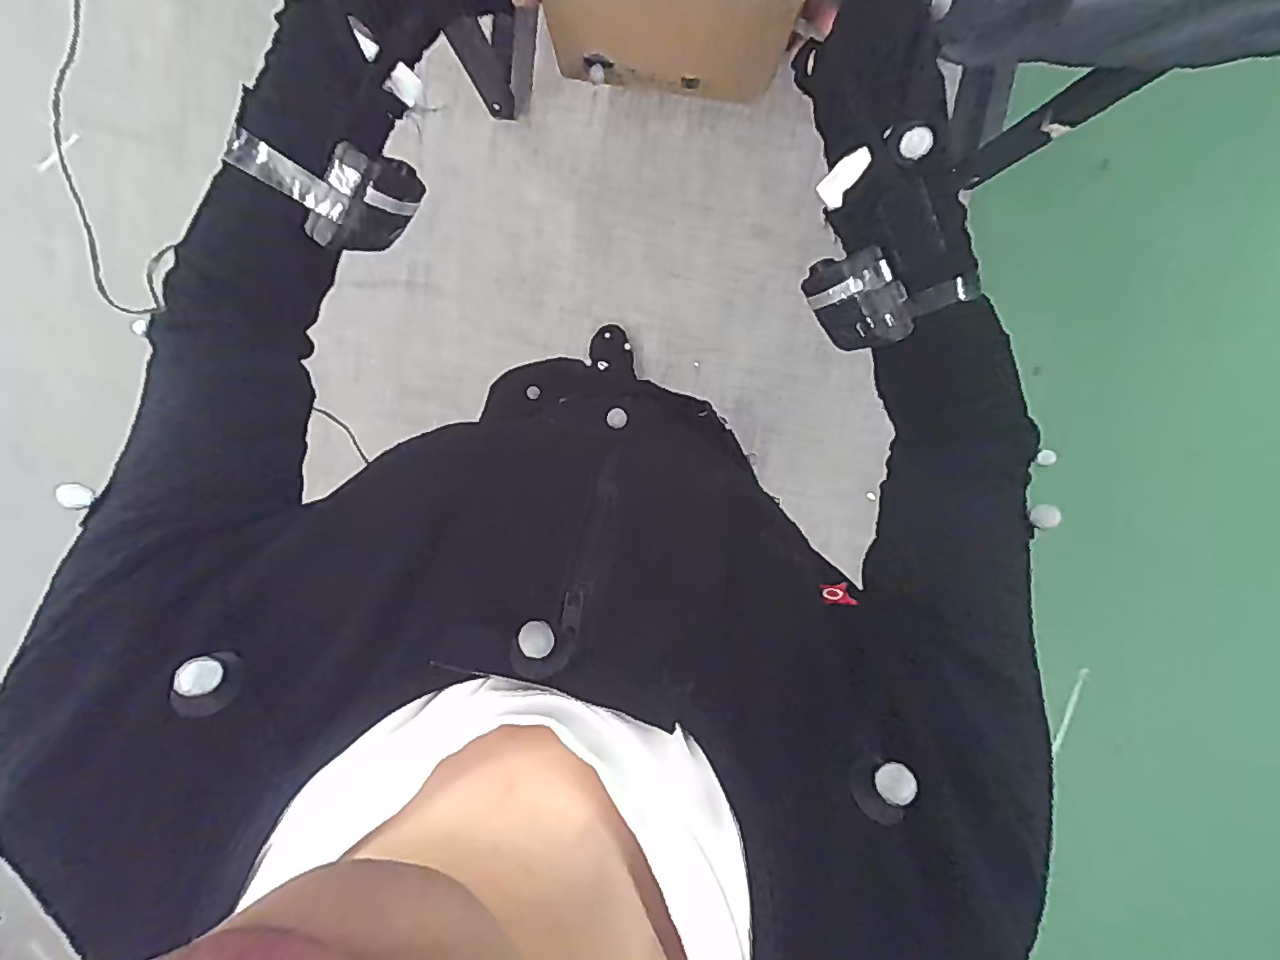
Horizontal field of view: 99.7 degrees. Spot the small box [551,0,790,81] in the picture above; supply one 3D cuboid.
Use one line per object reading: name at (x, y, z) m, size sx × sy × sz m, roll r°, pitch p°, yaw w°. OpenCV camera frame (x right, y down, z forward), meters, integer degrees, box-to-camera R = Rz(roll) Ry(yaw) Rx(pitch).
small box at (0.027, -0.392, 0.336) m, size 0.168 × 0.176 × 0.179 m, roll 7°, pitch 99°, yaw -1°
